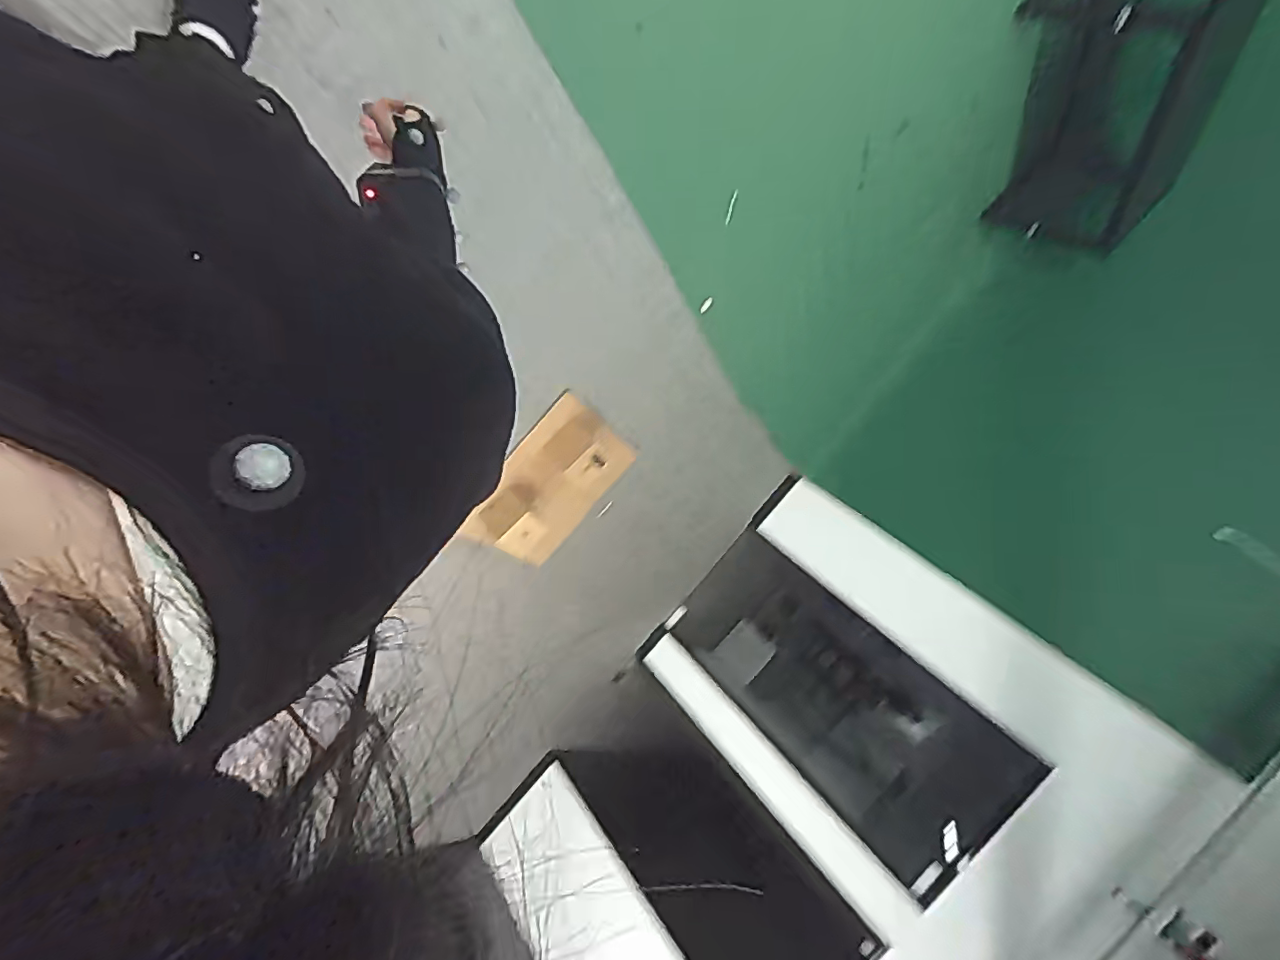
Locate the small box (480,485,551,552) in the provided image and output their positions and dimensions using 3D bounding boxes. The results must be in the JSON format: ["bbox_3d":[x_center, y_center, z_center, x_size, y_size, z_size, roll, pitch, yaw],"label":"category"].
[{"bbox_3d":[-0.486,0.142,2.095,0.168,0.176,0.179,-44,147,-4],"label":"small box"}]
